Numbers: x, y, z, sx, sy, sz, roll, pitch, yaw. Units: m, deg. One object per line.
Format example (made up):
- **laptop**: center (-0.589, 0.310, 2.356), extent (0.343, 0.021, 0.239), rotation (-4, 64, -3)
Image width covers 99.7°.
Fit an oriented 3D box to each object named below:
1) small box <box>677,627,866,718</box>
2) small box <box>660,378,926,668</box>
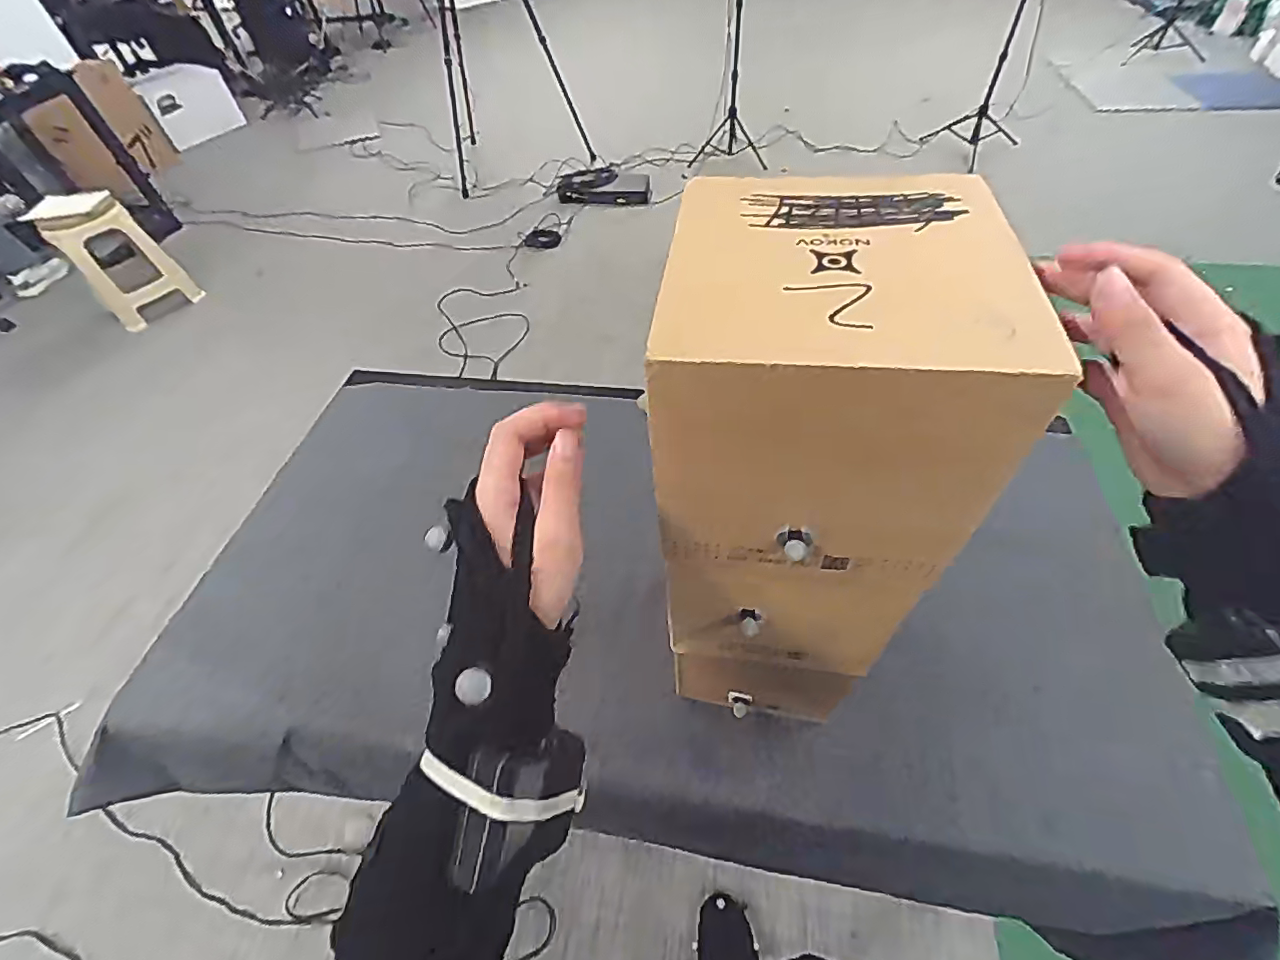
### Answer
- **small box**: center (0.133, 0.133, 0.580), extent (0.168, 0.176, 0.179), rotation (5, 53, 10)
- **small box**: center (0.115, 0.038, 0.448), extent (0.168, 0.176, 0.179), rotation (4, 51, 10)
